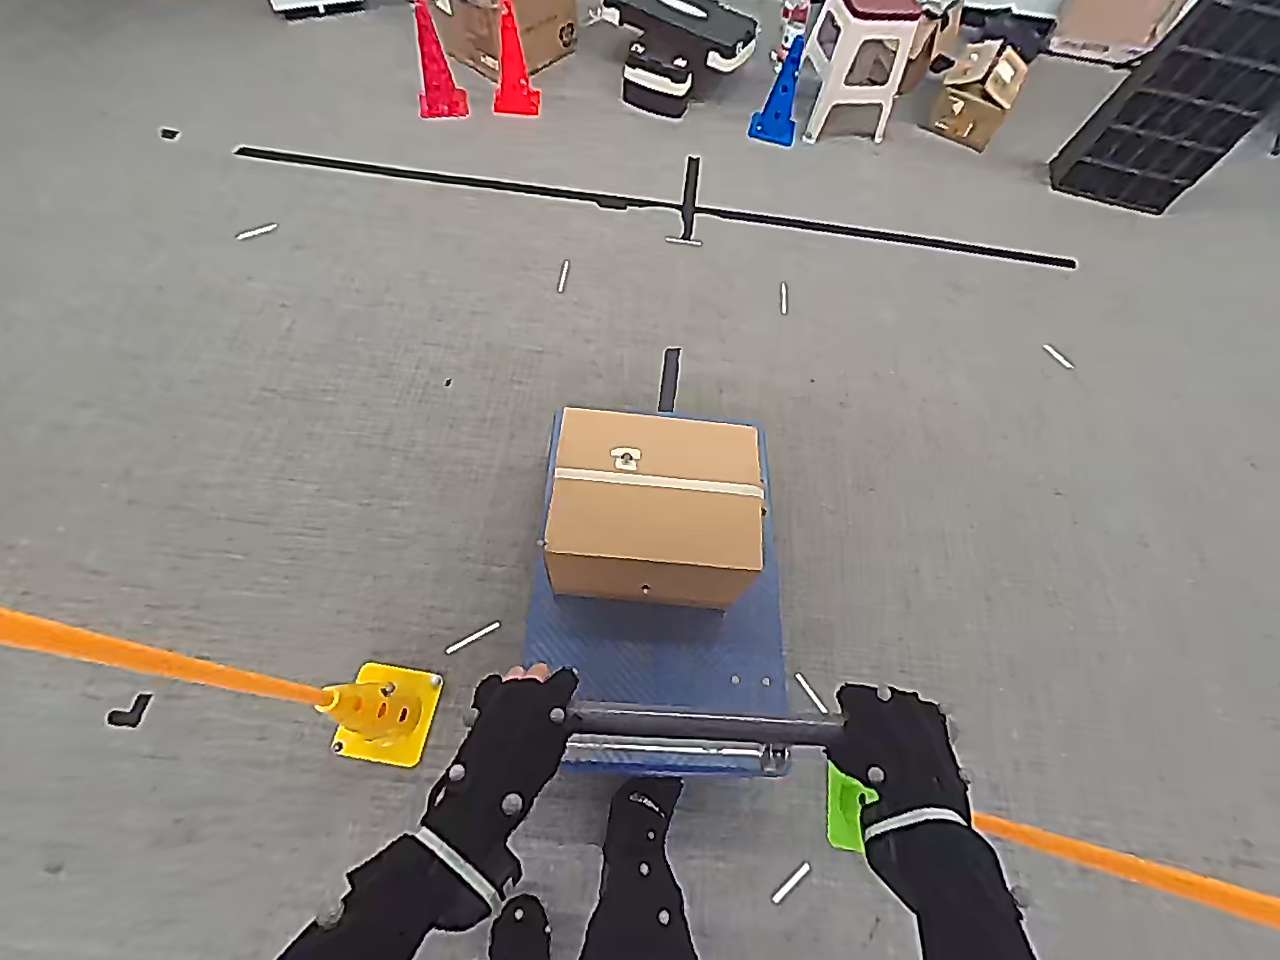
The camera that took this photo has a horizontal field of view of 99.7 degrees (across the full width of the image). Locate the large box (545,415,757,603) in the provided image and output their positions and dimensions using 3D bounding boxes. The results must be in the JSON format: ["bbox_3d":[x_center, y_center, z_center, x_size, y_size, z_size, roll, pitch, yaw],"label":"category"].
[{"bbox_3d":[0.022,0.080,1.197,0.408,0.320,0.320,5,64,-2],"label":"large box"}]

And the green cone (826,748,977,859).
[{"bbox_3d":[0.548,0.673,1.106,0.202,0.368,0.200,12,63,-1],"label":"green cone"}]
